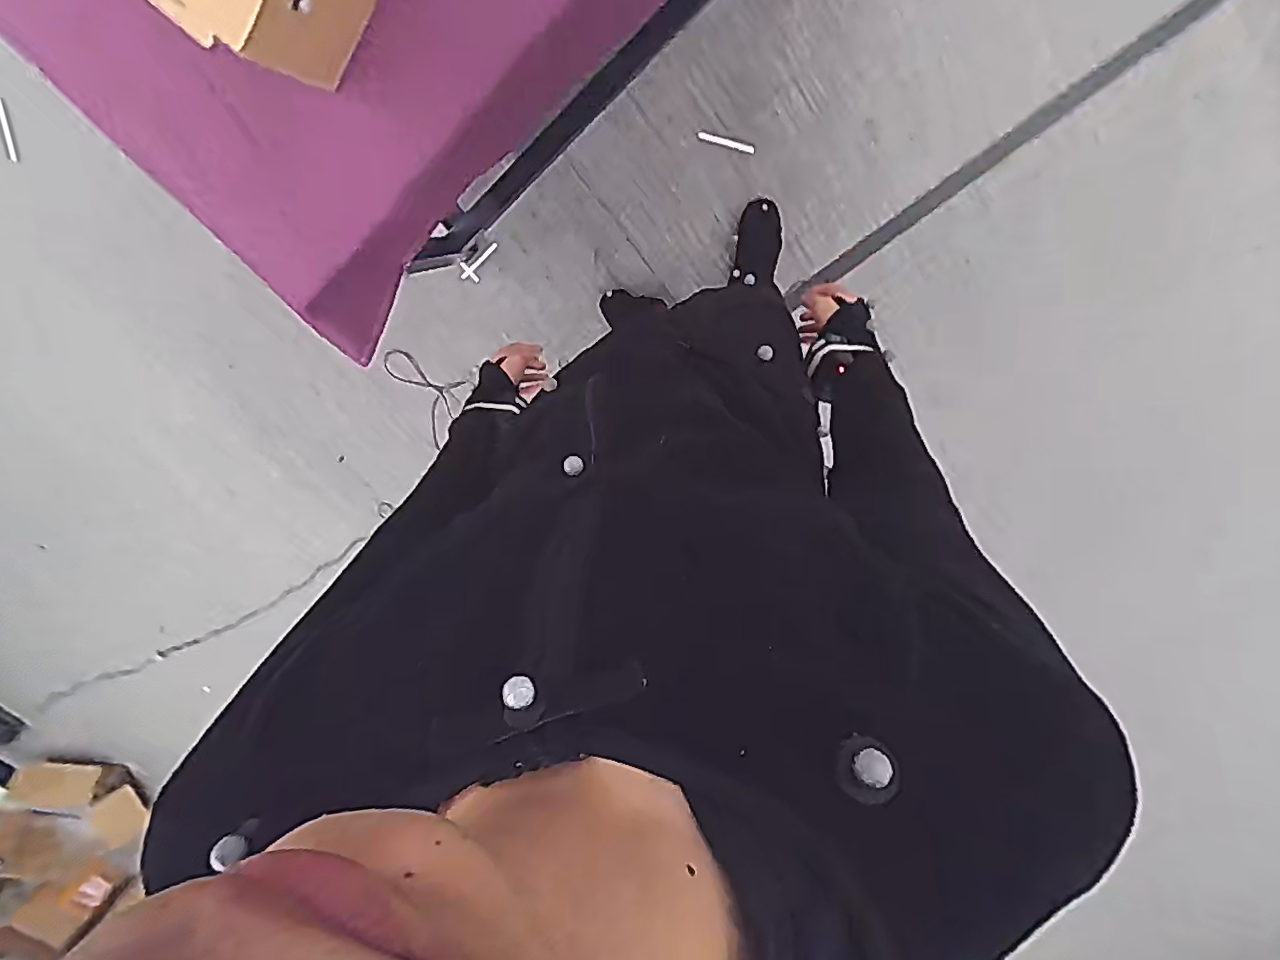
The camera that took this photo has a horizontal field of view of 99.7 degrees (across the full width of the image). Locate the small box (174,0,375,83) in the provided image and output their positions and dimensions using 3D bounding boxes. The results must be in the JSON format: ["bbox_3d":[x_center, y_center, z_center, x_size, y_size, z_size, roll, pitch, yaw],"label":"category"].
[{"bbox_3d":[-0.405,-0.570,0.570,0.168,0.176,0.179,38,112,-14],"label":"small box"}]
